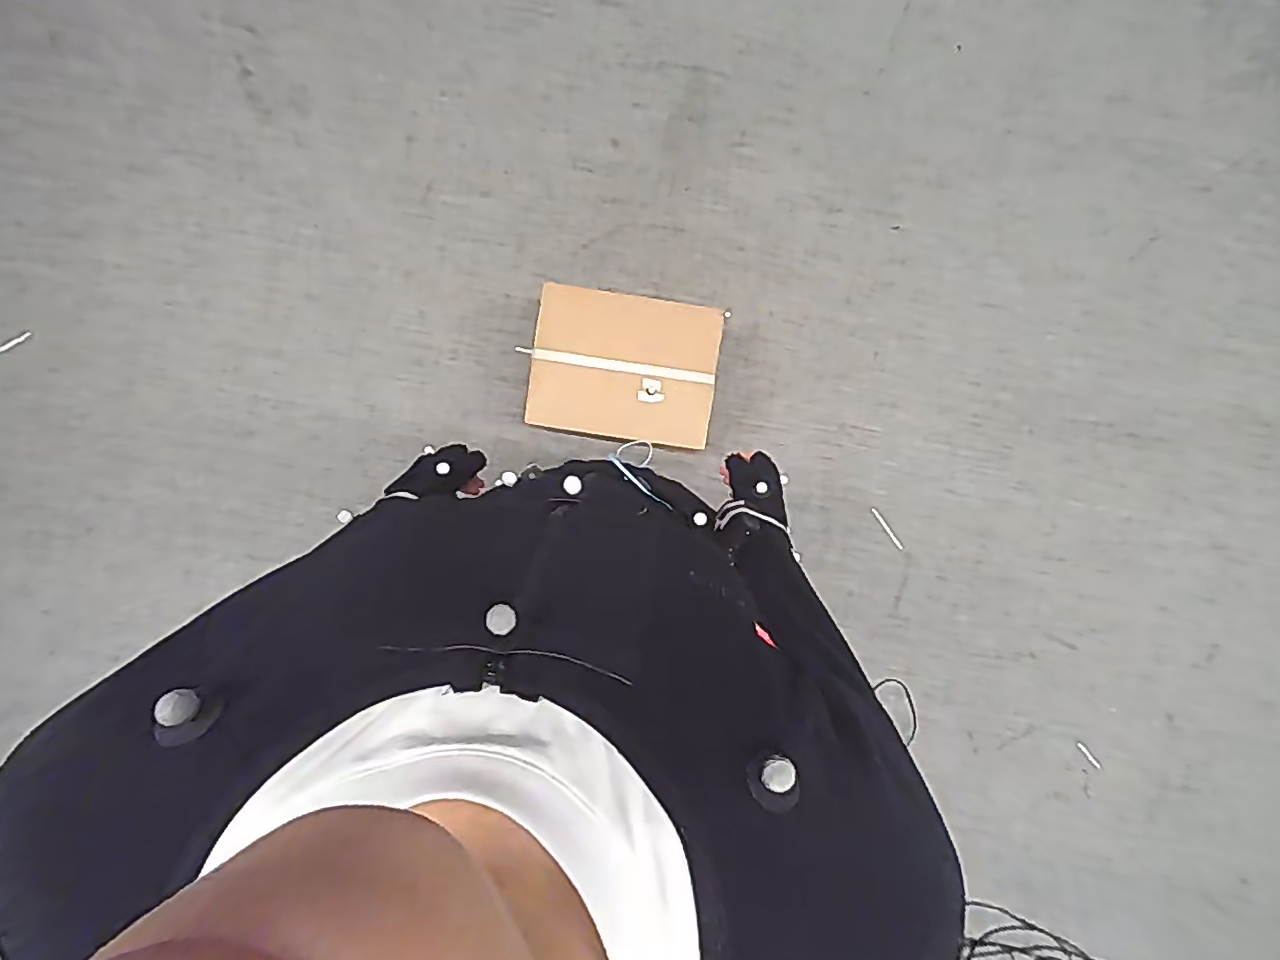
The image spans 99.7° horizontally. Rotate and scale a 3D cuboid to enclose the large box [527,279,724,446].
[{"bbox_3d":[-0.037,-0.265,1.329,0.408,0.320,0.320,9,93,-2],"label":"large box"}]
